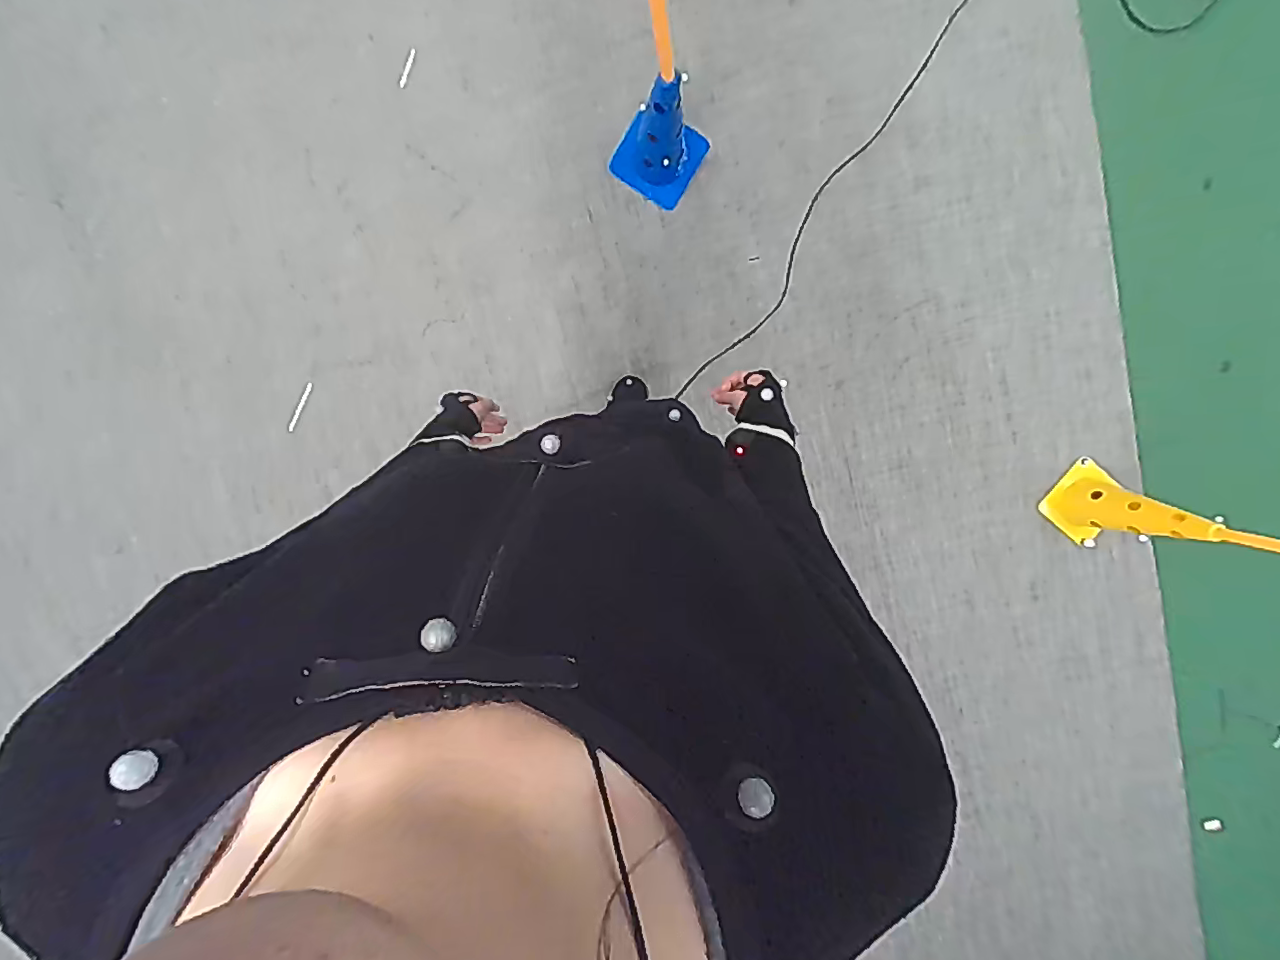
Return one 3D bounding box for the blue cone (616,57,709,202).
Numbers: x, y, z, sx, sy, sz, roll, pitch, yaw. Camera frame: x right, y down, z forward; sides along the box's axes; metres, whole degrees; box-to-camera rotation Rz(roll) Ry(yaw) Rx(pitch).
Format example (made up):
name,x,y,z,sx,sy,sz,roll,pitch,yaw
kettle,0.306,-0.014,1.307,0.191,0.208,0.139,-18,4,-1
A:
name,x,y,z,sx,sy,sz,roll,pitch,yaw
blue cone,0.053,-0.784,1.183,0.193,0.380,0.192,30,98,-4
